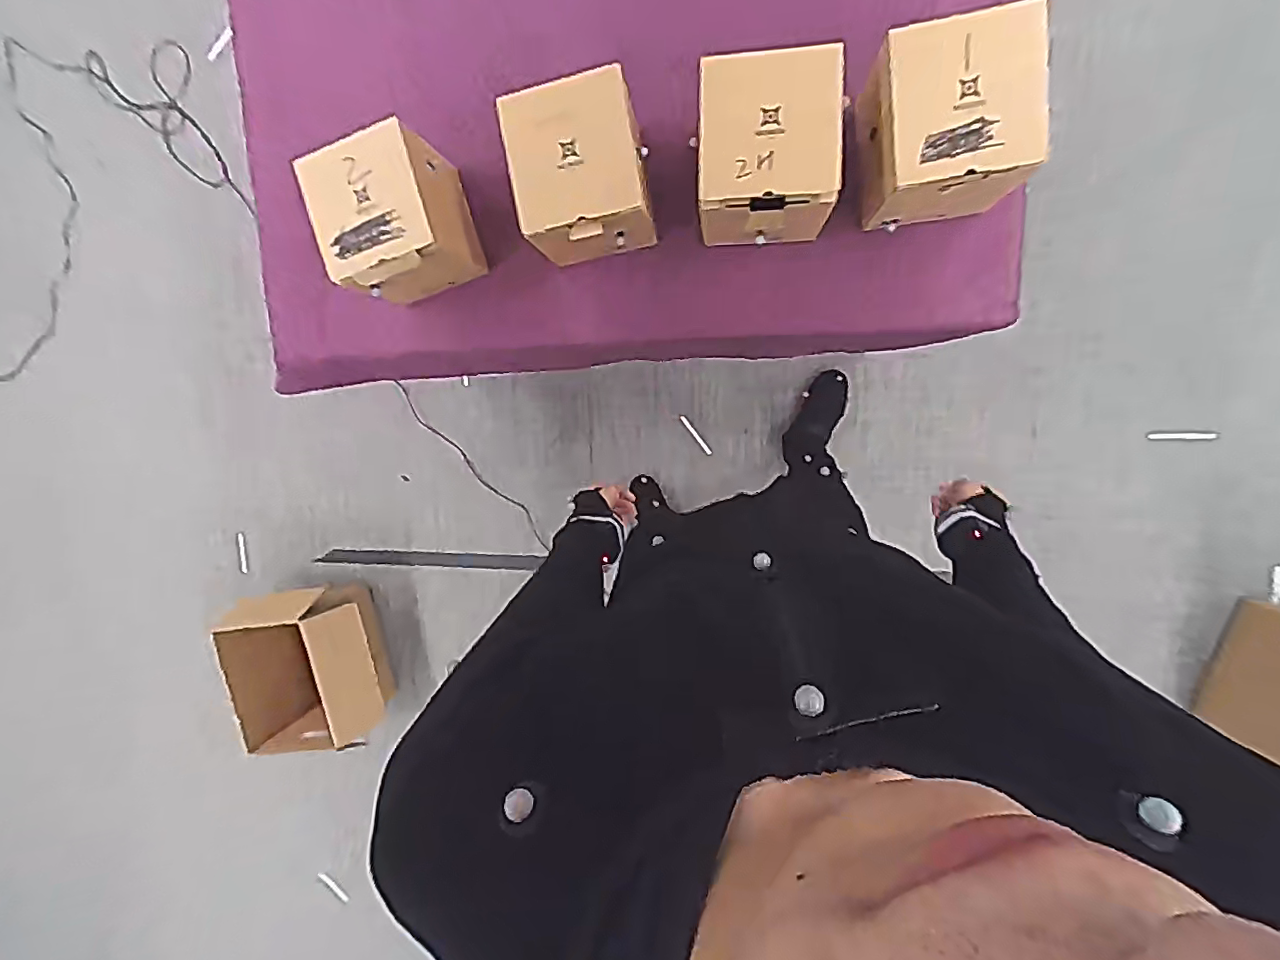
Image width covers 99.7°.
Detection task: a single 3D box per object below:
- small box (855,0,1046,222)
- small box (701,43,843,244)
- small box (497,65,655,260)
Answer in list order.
[{"bbox_3d":[0.382,-0.449,0.693,0.168,0.176,0.179,-5,97,9],"label":"small box"},{"bbox_3d":[0.166,-0.434,0.727,0.168,0.176,0.179,1,99,8],"label":"small box"},{"bbox_3d":[-0.078,-0.427,0.766,0.168,0.176,0.179,-9,97,9],"label":"small box"}]
